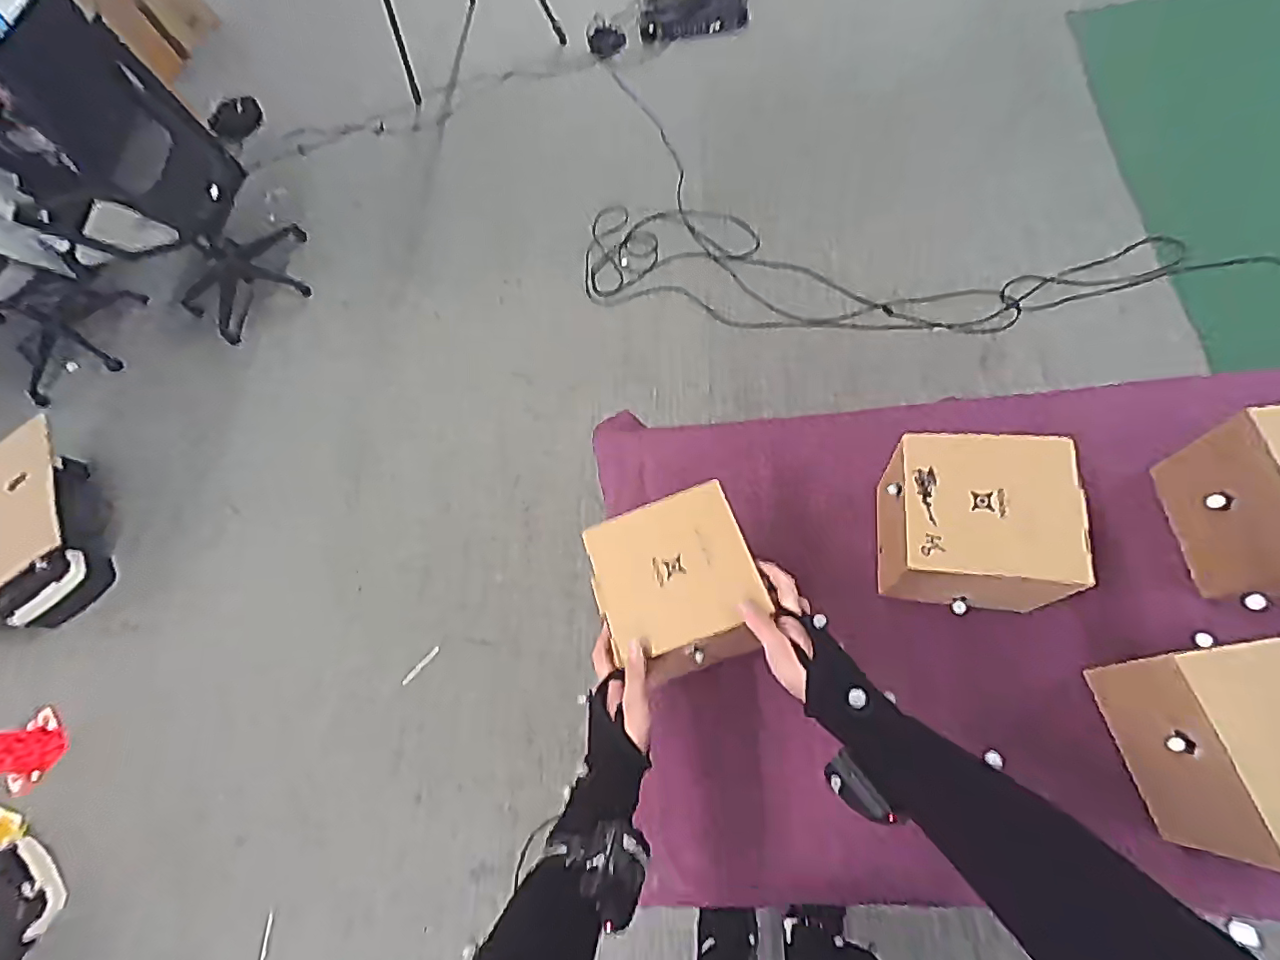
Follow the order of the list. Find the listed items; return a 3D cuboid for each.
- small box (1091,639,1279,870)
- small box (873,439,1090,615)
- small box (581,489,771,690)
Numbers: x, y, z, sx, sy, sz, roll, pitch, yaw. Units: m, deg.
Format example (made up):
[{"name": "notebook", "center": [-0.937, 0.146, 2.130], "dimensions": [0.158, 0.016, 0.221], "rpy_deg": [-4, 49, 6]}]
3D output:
[{"name": "small box", "center": [0.599, 0.259, 0.526], "dimensions": [0.168, 0.176, 0.179], "rpy_deg": [-13, 63, 8]}, {"name": "small box", "center": [0.396, 0.064, 0.662], "dimensions": [0.179, 0.176, 0.168], "rpy_deg": [4, 67, 14]}, {"name": "small box", "center": [0.050, 0.142, 0.661], "dimensions": [0.179, 0.176, 0.168], "rpy_deg": [-21, 60, 3]}]
